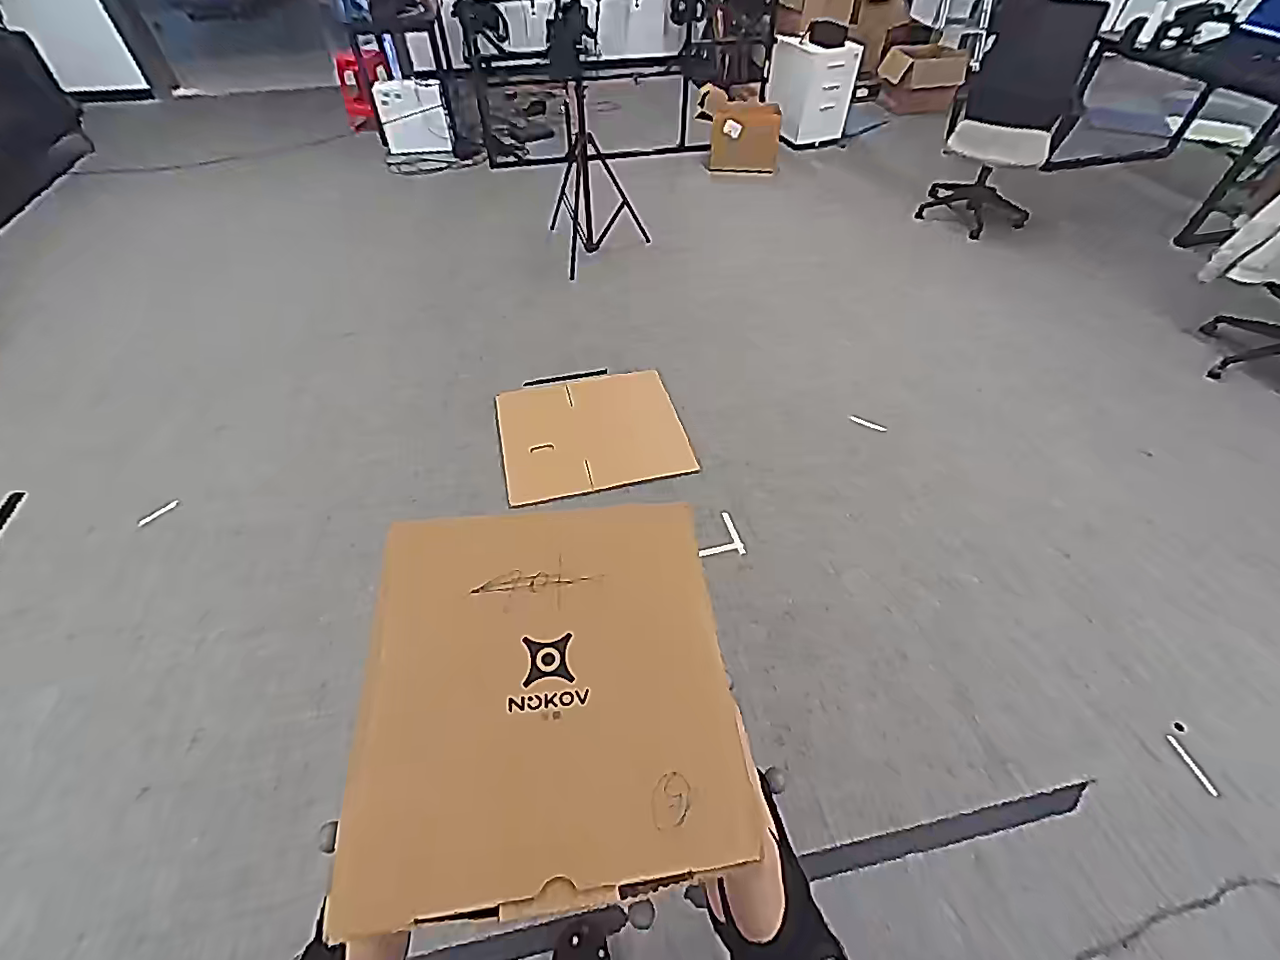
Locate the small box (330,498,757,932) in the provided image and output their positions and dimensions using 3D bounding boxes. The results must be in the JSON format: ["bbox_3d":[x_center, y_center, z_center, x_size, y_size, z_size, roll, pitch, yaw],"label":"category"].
[{"bbox_3d":[-0.050,0.133,0.316,0.168,0.176,0.179,-4,53,-10],"label":"small box"}]
